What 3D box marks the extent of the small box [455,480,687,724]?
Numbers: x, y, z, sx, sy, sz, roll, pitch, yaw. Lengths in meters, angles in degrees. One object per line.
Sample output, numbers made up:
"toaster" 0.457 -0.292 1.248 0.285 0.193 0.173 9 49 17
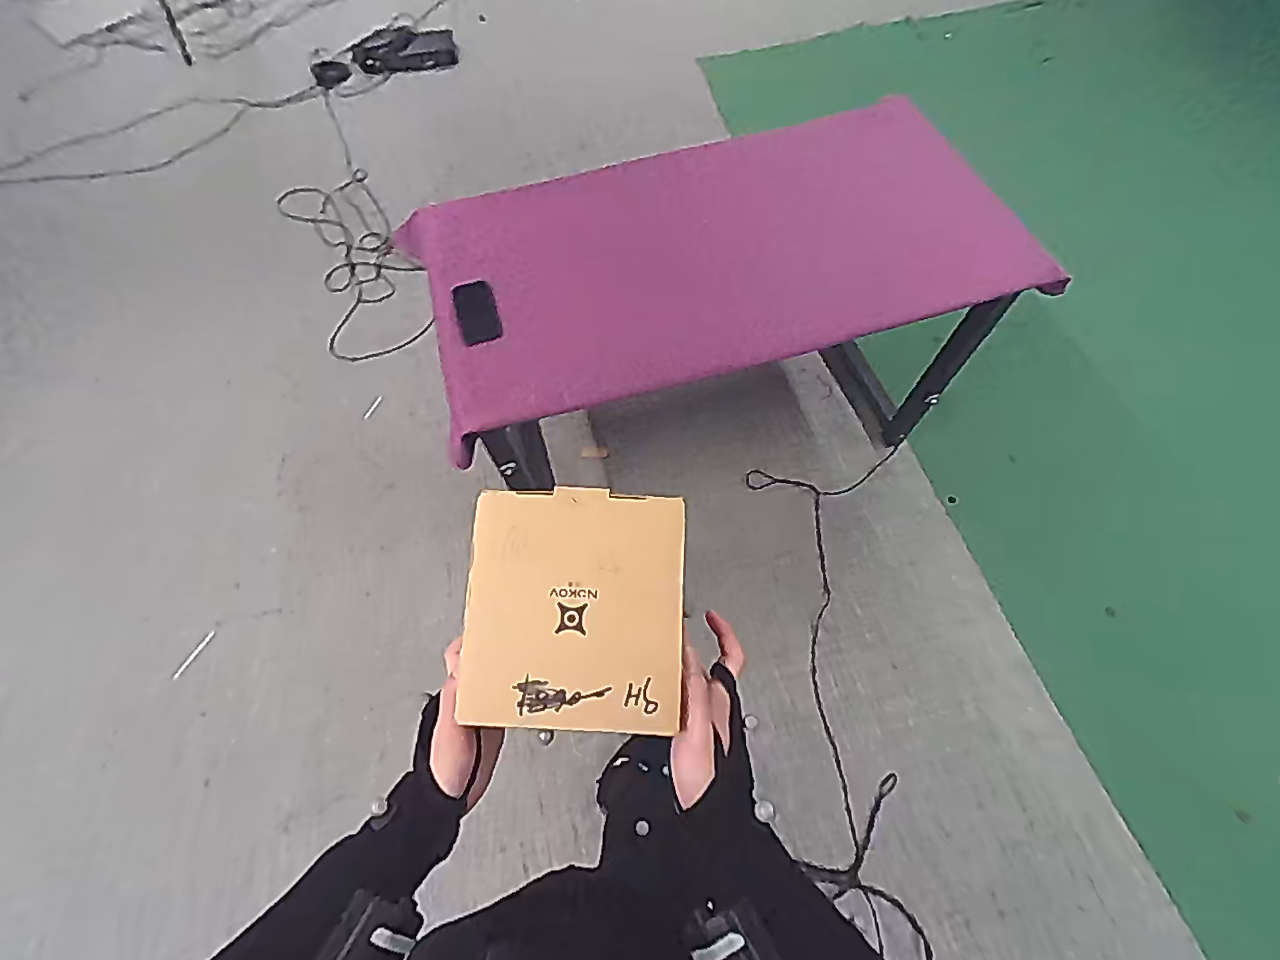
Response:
"small box" -0.047 0.107 0.487 0.168 0.176 0.179 2 76 3
